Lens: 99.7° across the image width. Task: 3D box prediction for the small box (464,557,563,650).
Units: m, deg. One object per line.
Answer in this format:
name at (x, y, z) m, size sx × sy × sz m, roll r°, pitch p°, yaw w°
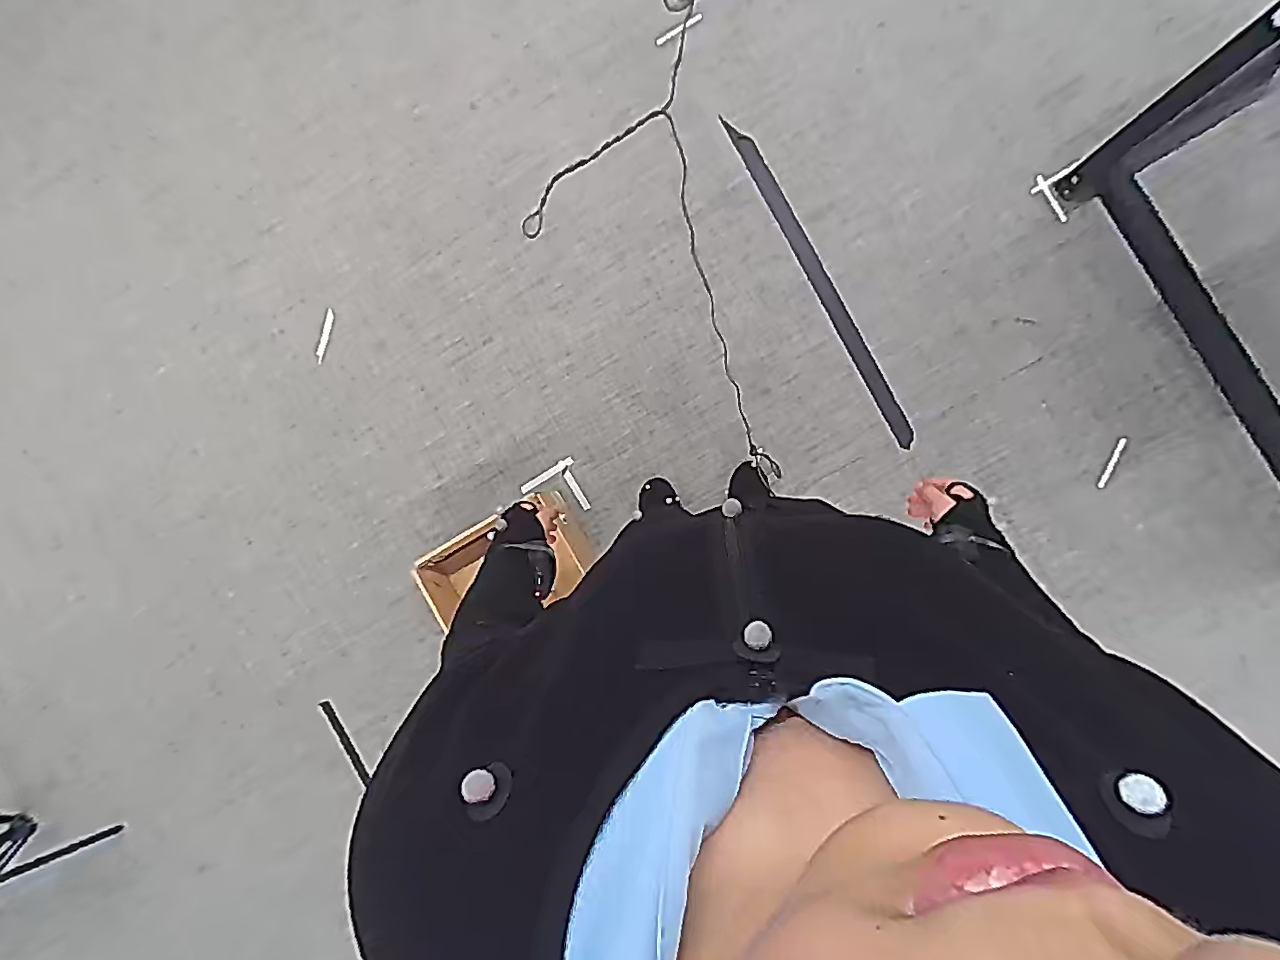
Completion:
small box at (-0.326, 0.319, 1.426) m, size 0.179 × 0.176 × 0.168 m, roll -25°, pitch 89°, yaw 5°
